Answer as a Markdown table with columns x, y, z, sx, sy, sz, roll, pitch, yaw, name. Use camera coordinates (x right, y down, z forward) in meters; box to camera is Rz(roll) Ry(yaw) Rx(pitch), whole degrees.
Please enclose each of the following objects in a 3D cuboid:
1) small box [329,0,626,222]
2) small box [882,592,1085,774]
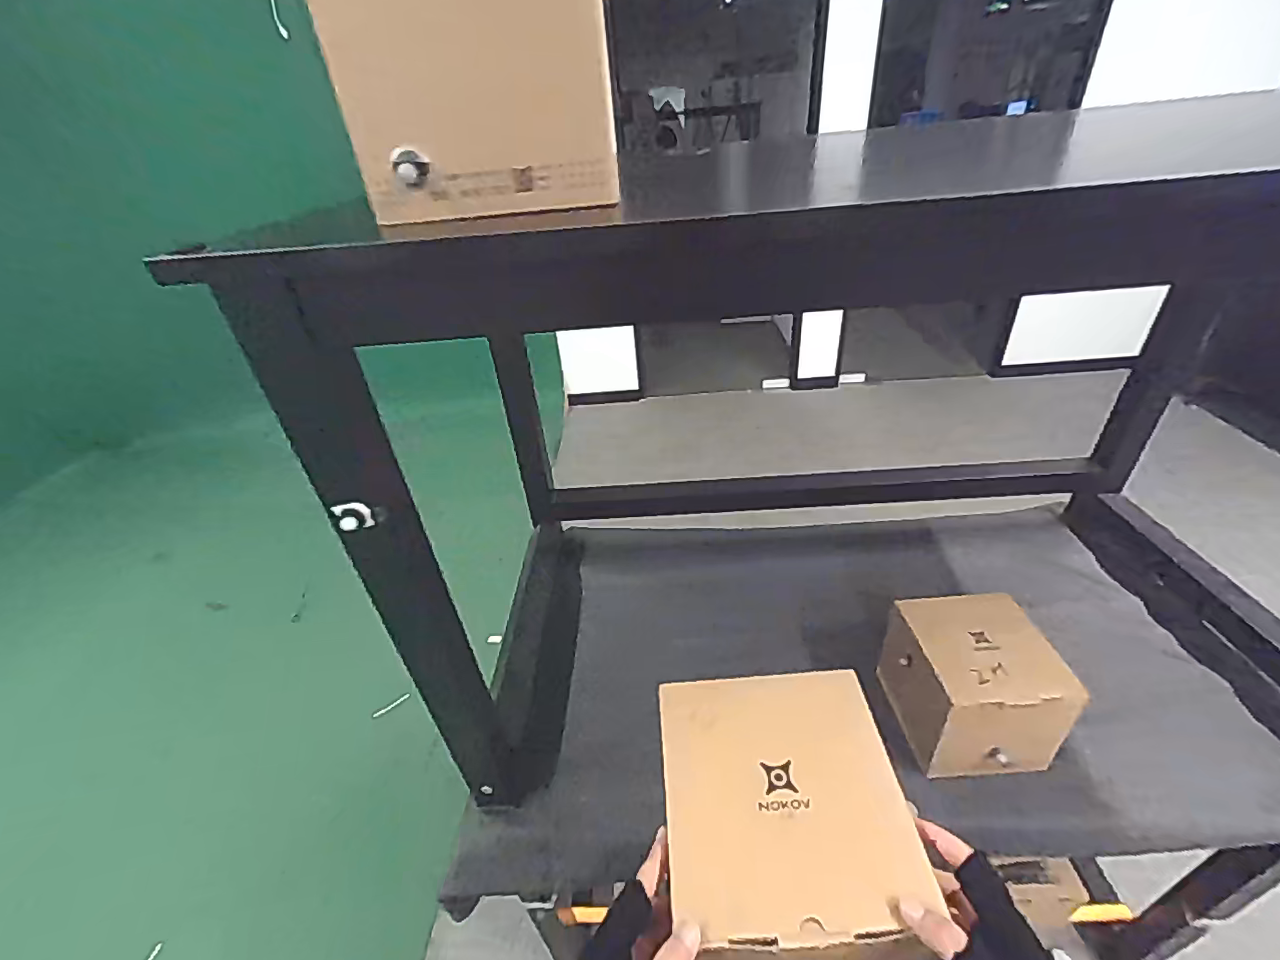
| x | y | z | sx | sy | sz | roll | pitch | yaw | name |
| --- | --- | --- | --- | --- | --- | --- | --- | --- | --- |
| -0.101 | -0.295 | 0.403 | 0.168 | 0.176 | 0.179 | -5 | 33 | -1 | small box |
| 0.465 | 0.285 | 0.771 | 0.168 | 0.176 | 0.179 | -5 | 33 | 2 | small box |
